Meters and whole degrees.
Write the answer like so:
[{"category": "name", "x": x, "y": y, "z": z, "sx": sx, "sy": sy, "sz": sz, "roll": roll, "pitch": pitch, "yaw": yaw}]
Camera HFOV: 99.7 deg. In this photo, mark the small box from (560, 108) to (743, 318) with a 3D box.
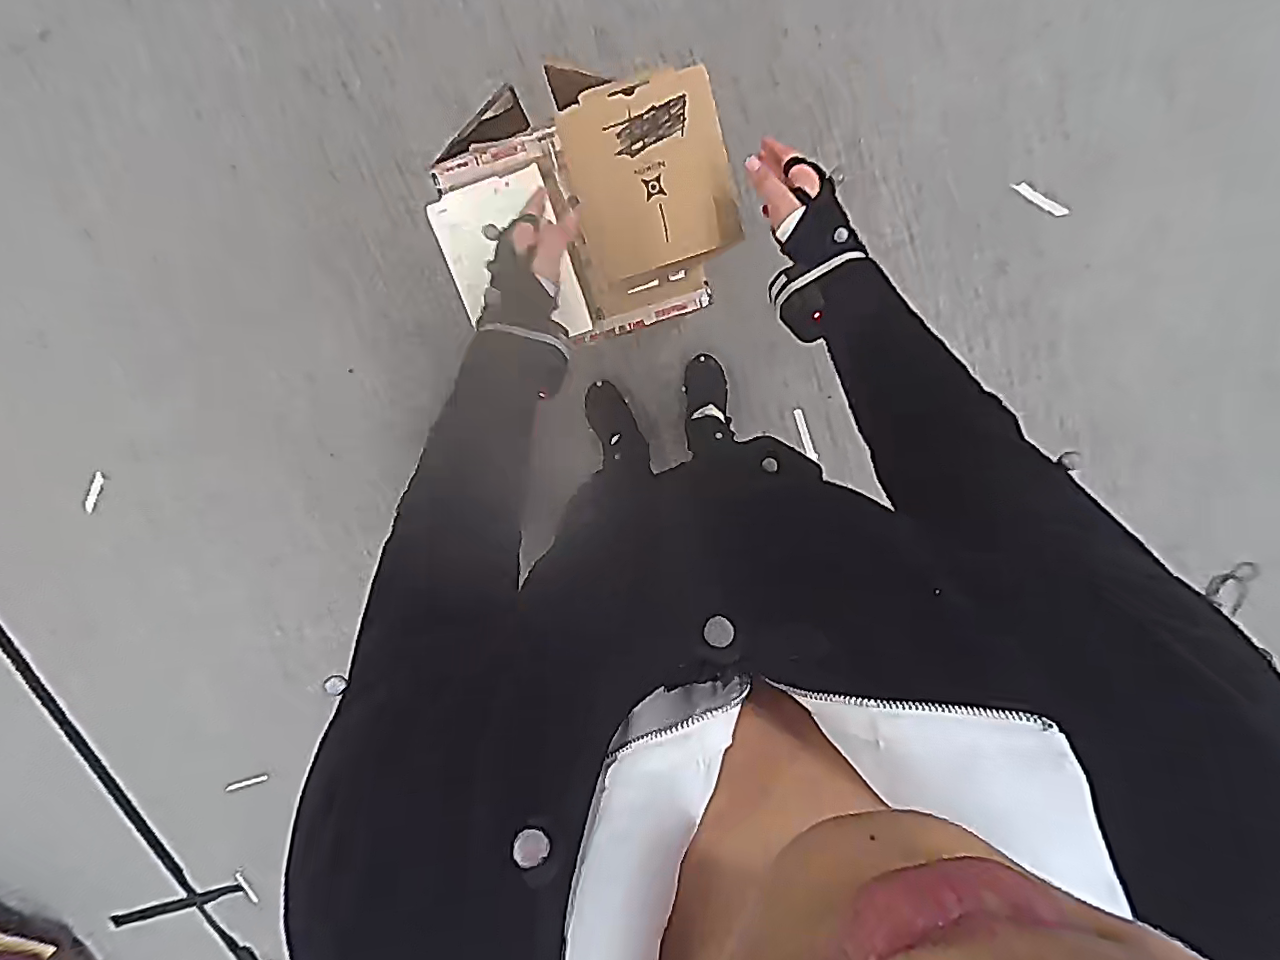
[{"category": "small box", "x": 0.010, "y": -0.308, "z": 0.666, "sx": 0.168, "sy": 0.176, "sz": 0.179, "roll": -17, "pitch": 107, "yaw": 2}]
